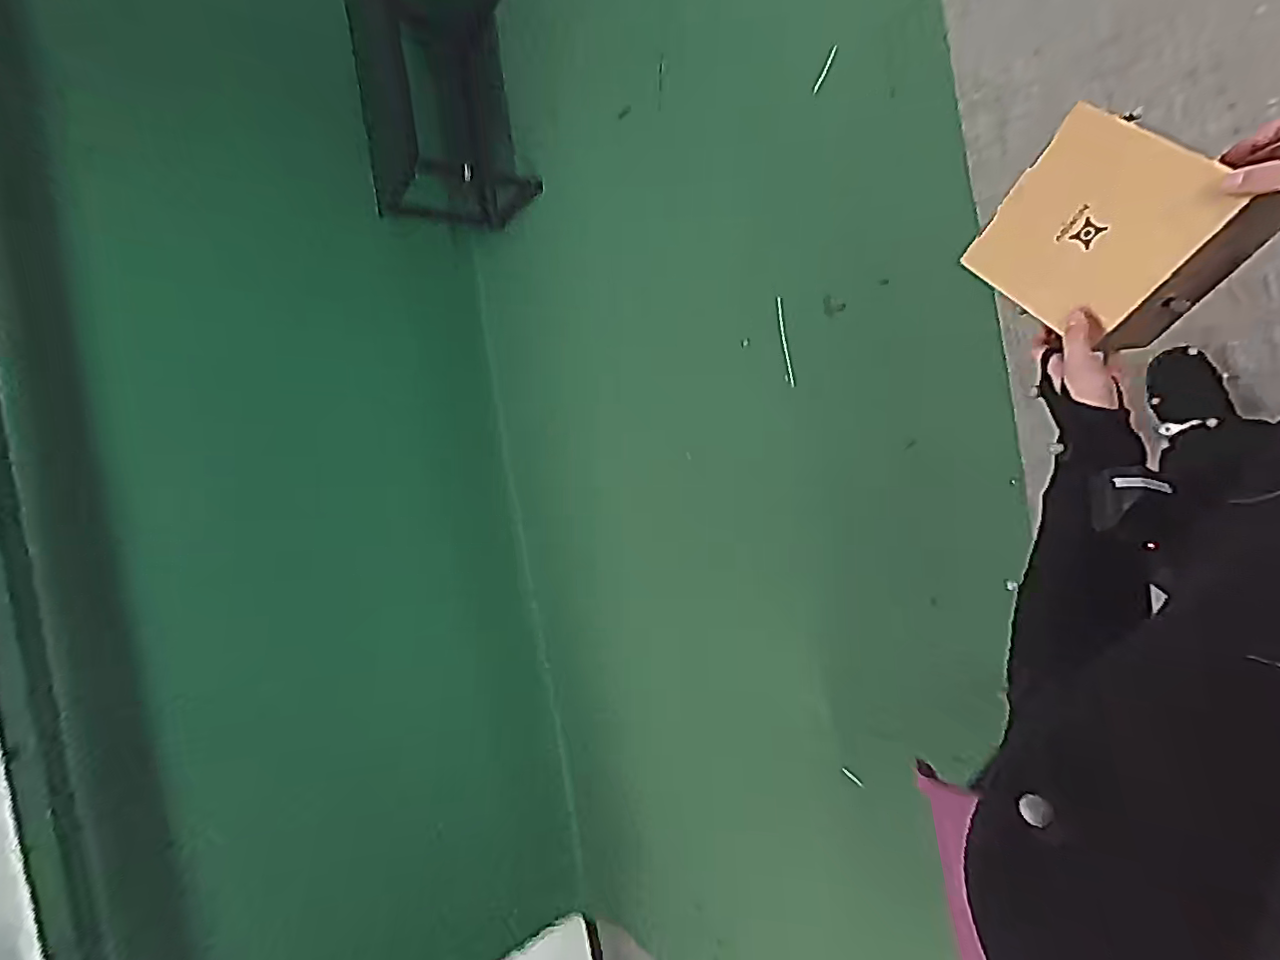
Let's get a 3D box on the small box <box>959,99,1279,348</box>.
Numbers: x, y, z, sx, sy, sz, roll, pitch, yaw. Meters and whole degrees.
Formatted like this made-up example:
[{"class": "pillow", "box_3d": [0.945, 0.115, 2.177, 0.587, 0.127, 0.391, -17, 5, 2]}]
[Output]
[{"class": "small box", "box_3d": [0.497, -0.261, 0.565, 0.179, 0.176, 0.168, 60, 144, 30]}]
